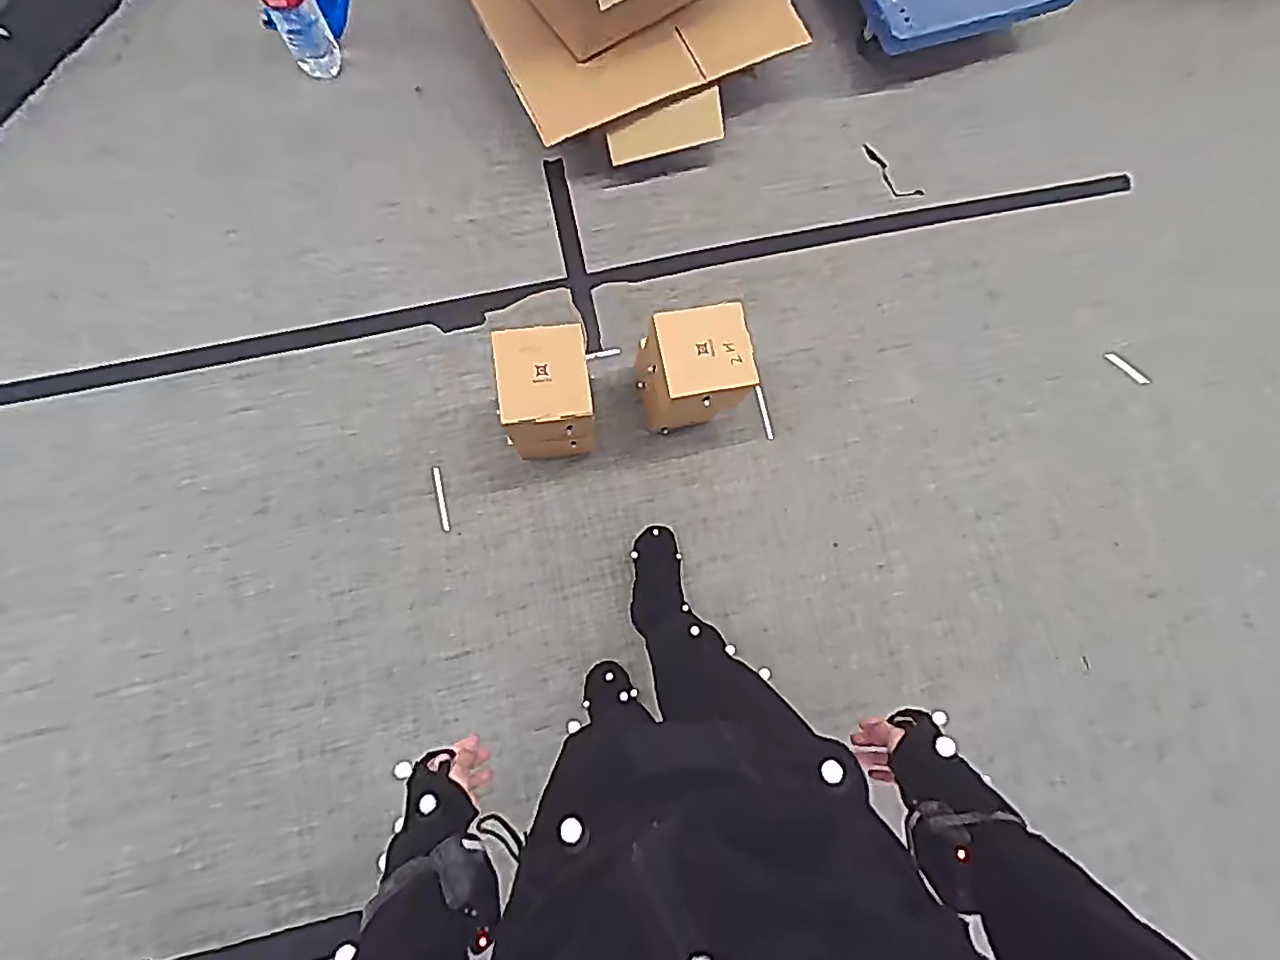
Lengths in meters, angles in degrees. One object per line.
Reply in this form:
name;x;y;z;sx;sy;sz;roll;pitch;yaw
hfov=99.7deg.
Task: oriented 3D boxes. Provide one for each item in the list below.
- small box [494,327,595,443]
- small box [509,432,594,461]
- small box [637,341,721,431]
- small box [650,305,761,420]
small box;-0.179;-0.174;1.047;0.168;0.176;0.179;-8;81;-8
small box;-0.196;-0.142;1.205;0.179;0.176;0.168;-6;82;-6
small box;0.095;-0.218;1.243;0.168;0.176;0.179;-13;83;-8
small box;0.120;-0.226;1.079;0.179;0.176;0.168;-10;84;-8
